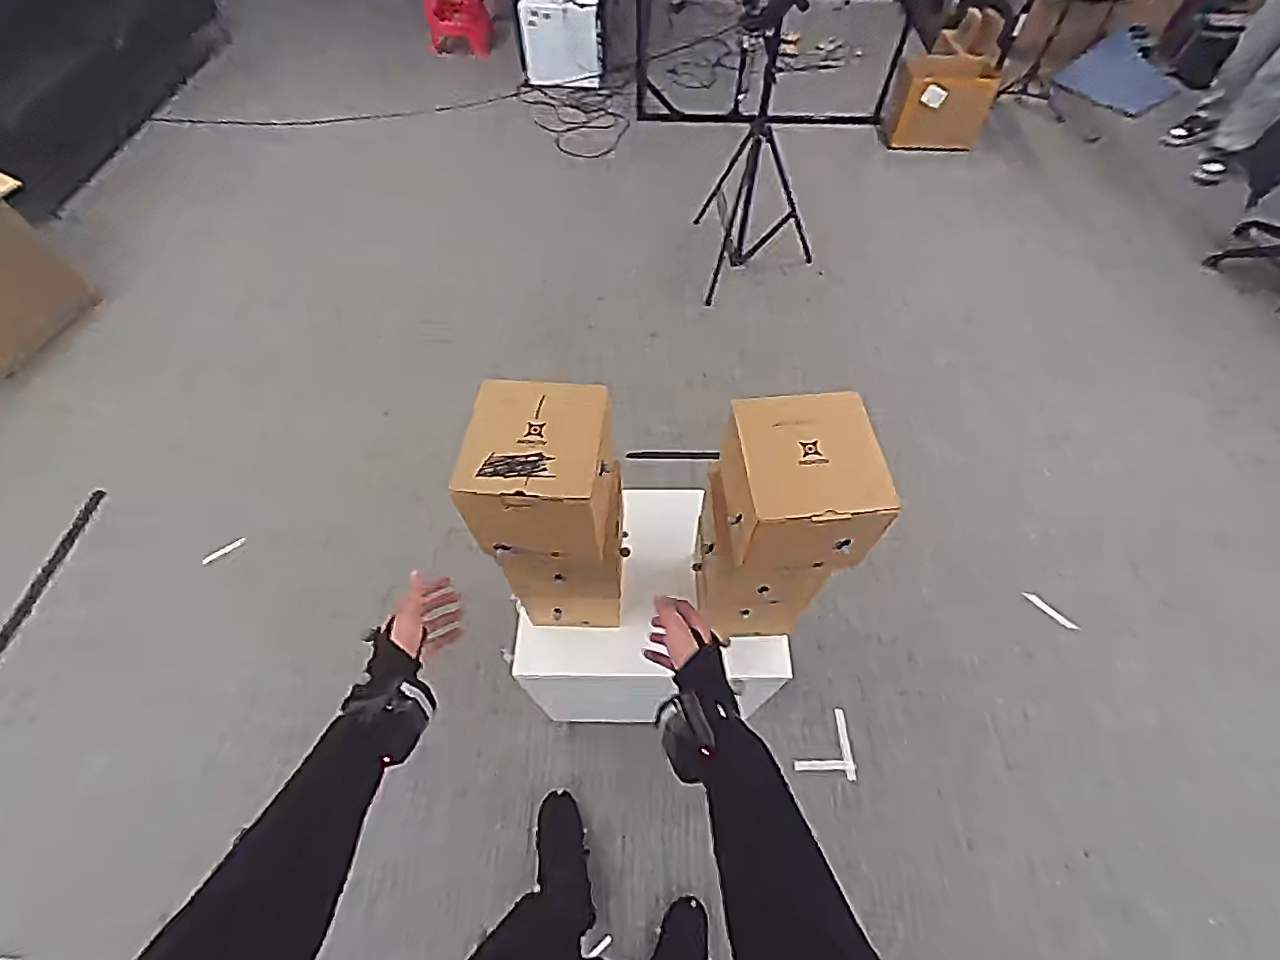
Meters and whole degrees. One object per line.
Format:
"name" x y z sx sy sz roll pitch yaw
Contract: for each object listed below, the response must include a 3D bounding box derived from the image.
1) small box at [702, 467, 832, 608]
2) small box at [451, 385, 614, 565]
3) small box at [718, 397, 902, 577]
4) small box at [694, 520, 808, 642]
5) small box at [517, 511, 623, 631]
"small box" 0.189 0.095 0.846 0.168 0.176 0.179 -1 58 0
"small box" -0.126 -0.001 0.715 0.168 0.176 0.179 4 56 3
"small box" 0.202 0.018 0.702 0.168 0.176 0.179 -5 57 -3
"small box" 0.190 0.183 0.985 0.168 0.176 0.179 -2 57 0
"small box" -0.118 0.171 0.996 0.168 0.176 0.179 1 57 0
